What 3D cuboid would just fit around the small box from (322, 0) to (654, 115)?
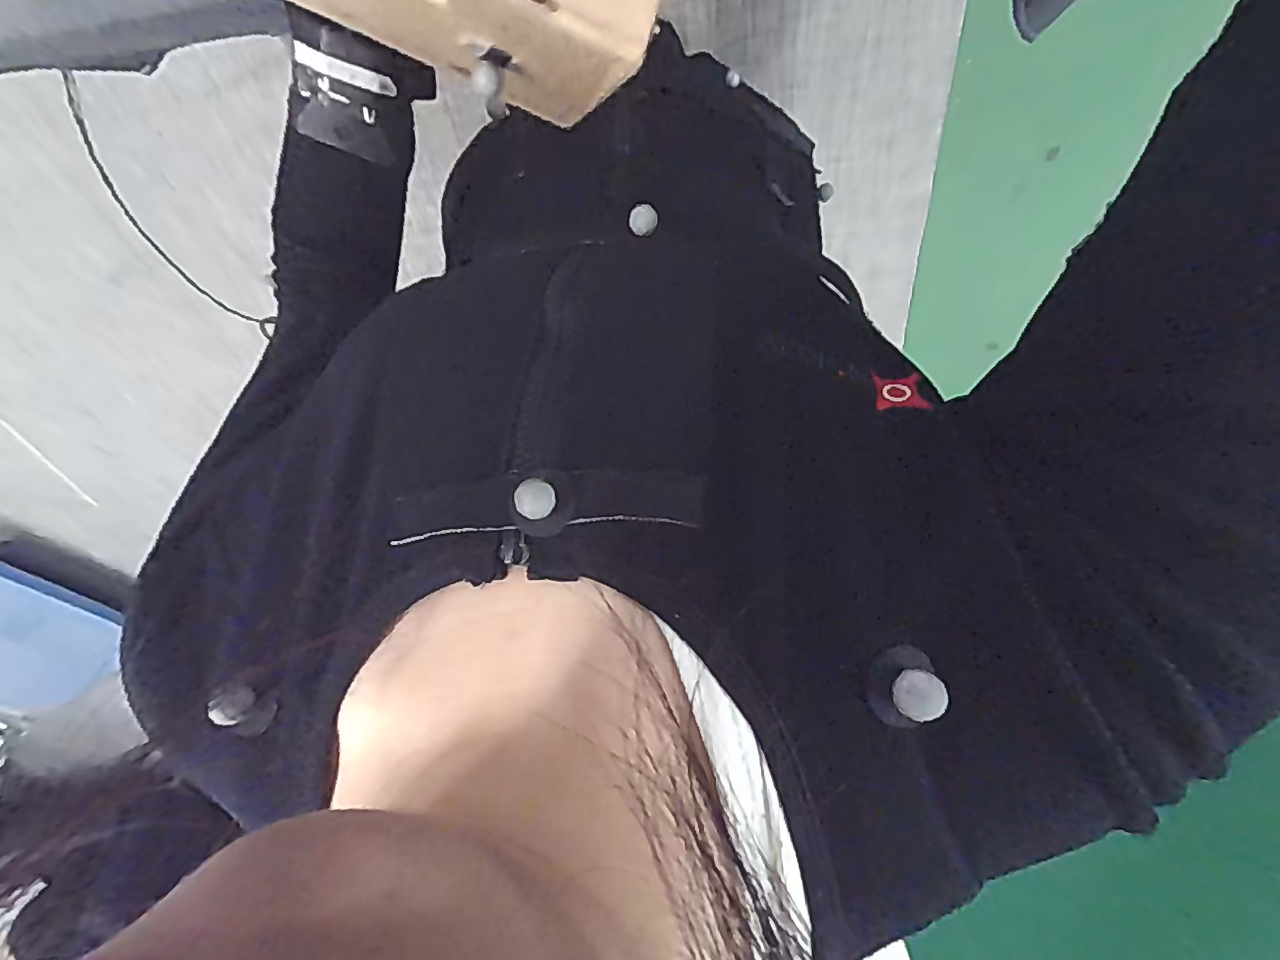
[{"bbox_3d":[-0.064,-0.257,0.181,0.168,0.176,0.179,14,111,-24],"label":"small box"}]
